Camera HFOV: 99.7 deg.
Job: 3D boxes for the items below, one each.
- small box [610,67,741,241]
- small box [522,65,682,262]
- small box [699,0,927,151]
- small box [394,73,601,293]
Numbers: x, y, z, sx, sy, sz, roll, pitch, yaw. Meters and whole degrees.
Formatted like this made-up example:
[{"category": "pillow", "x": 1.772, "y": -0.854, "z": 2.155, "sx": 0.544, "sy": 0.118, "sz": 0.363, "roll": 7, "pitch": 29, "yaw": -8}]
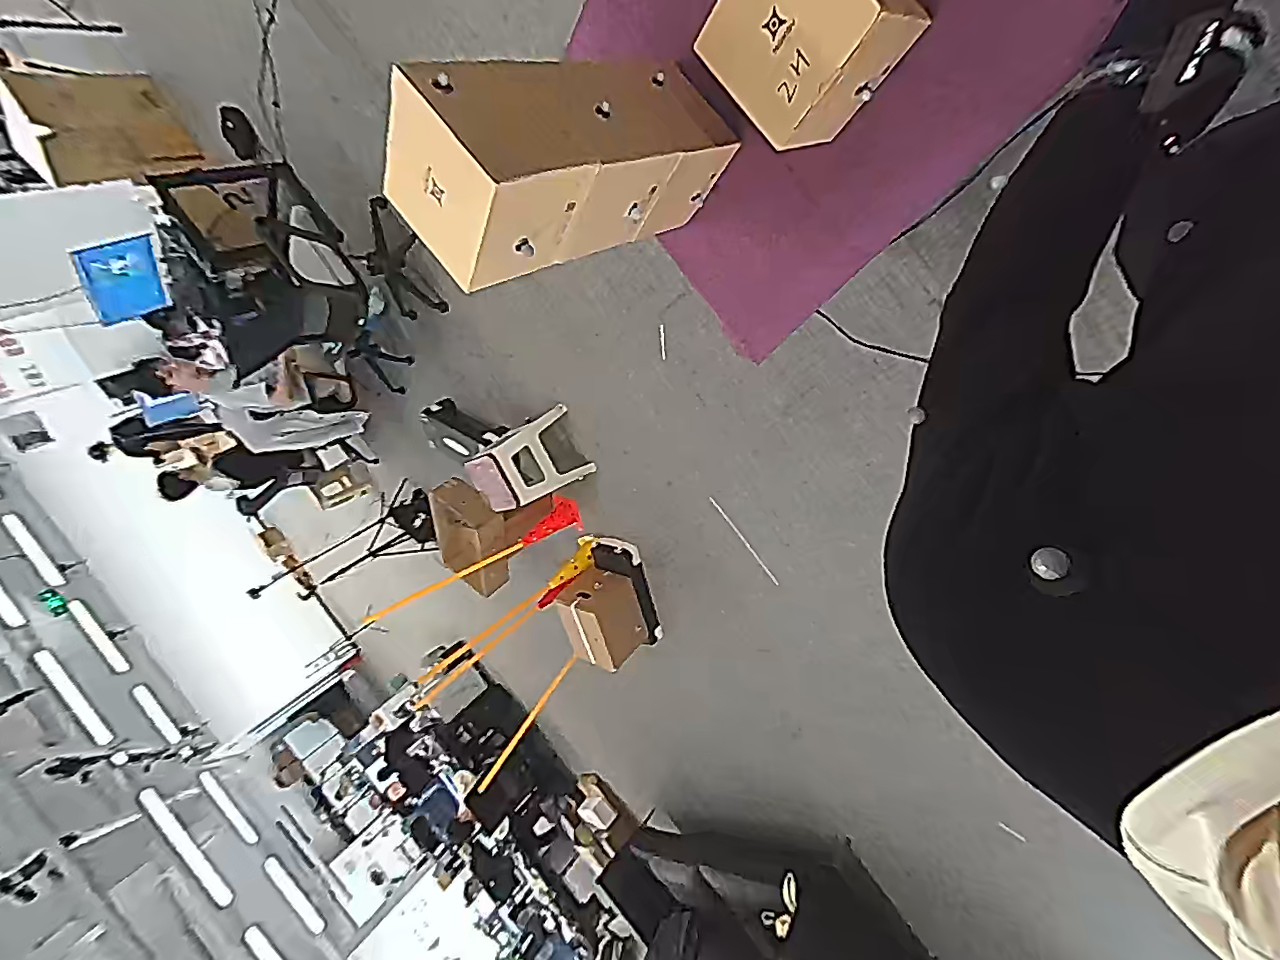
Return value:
[{"category": "small box", "x": 0.028, "y": -0.527, "z": 0.881, "sx": 0.179, "sy": 0.176, "sz": 0.168, "roll": 51, "pitch": 142, "yaw": 2}, {"category": "small box", "x": -0.075, "y": -0.452, "z": 0.779, "sx": 0.179, "sy": 0.176, "sz": 0.168, "roll": 51, "pitch": 142, "yaw": 3}, {"category": "small box", "x": 0.215, "y": -0.549, "z": 0.674, "sx": 0.179, "sy": 0.176, "sz": 0.168, "roll": 52, "pitch": 142, "yaw": 2}, {"category": "small box", "x": -0.178, "y": -0.375, "z": 0.680, "sx": 0.179, "sy": 0.176, "sz": 0.168, "roll": 51, "pitch": 143, "yaw": 4}]
